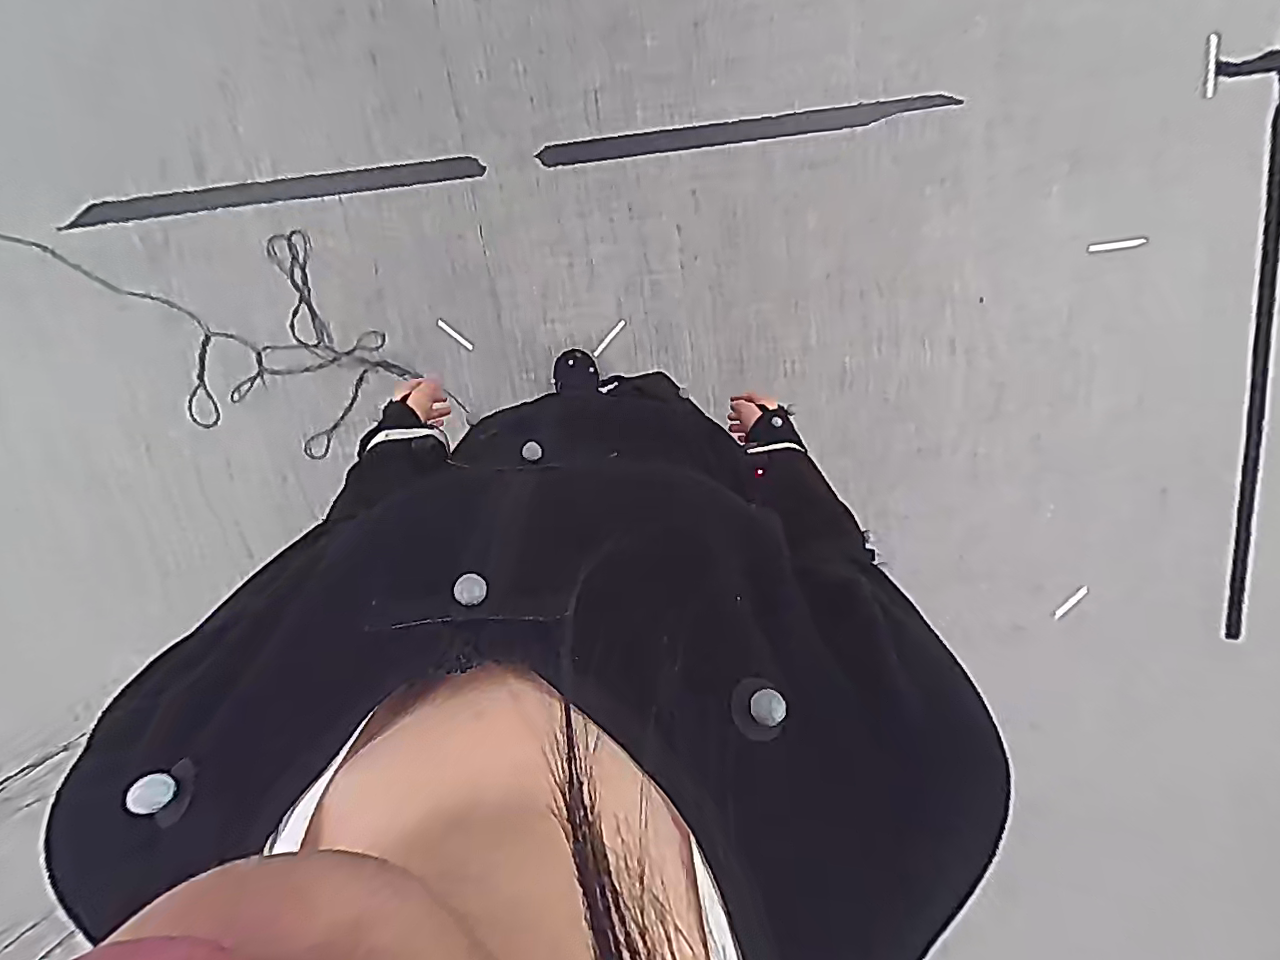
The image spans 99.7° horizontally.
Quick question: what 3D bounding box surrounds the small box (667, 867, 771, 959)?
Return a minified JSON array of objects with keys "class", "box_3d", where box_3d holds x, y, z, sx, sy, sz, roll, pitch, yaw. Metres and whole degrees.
[{"class":"small box","box_3d":[0.142,0.856,1.002,0.168,0.176,0.179,-5,103,-1]}]
